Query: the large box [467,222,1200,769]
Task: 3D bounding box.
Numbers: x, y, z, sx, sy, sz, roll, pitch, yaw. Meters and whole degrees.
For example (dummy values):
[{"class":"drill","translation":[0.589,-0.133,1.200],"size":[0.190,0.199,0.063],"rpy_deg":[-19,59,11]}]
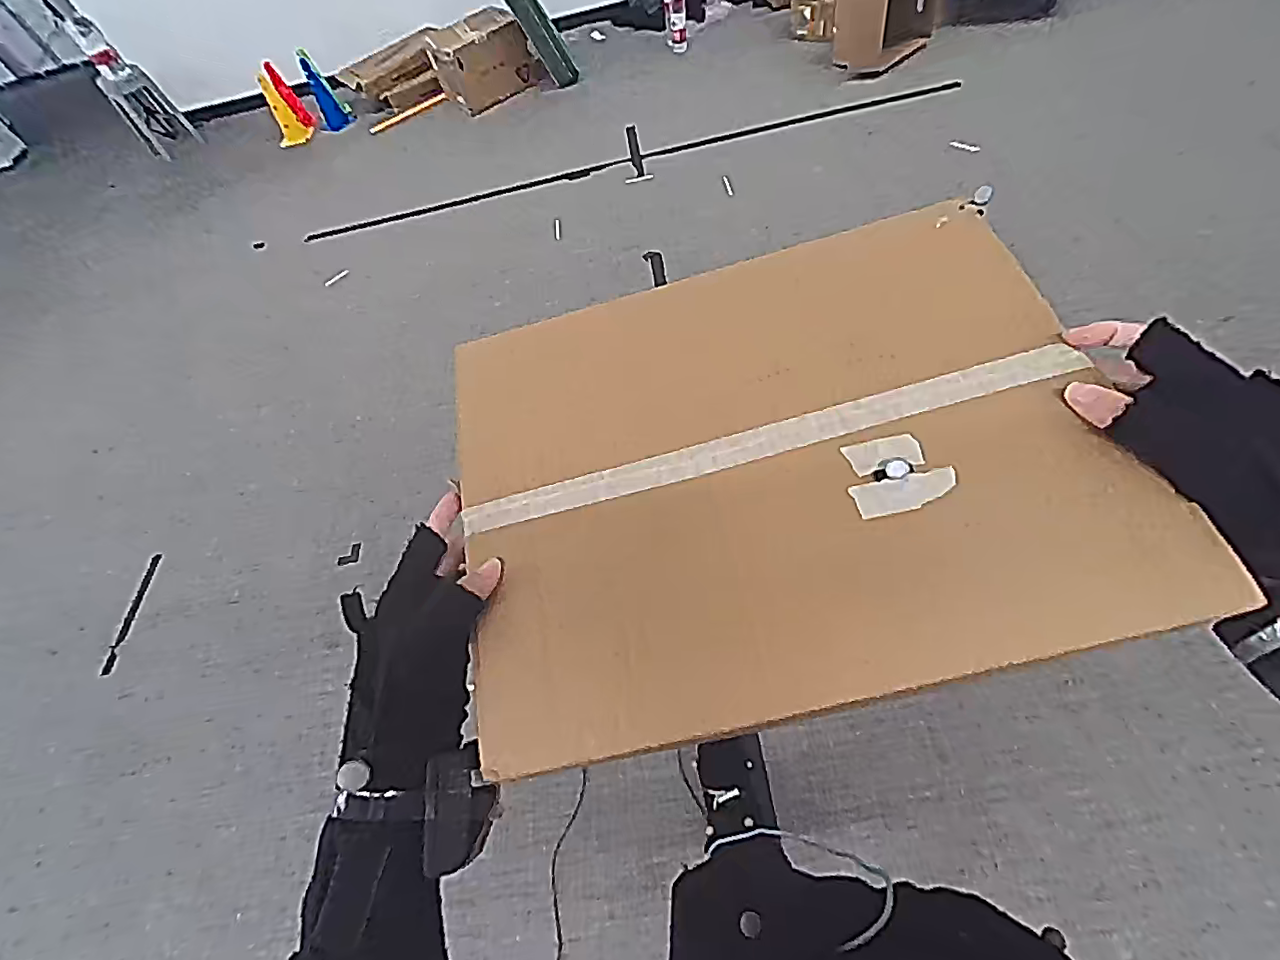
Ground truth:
[{"class":"large box","translation":[0.103,0.045,0.497],"size":[0.408,0.320,0.320],"rpy_deg":[-15,63,4]}]
